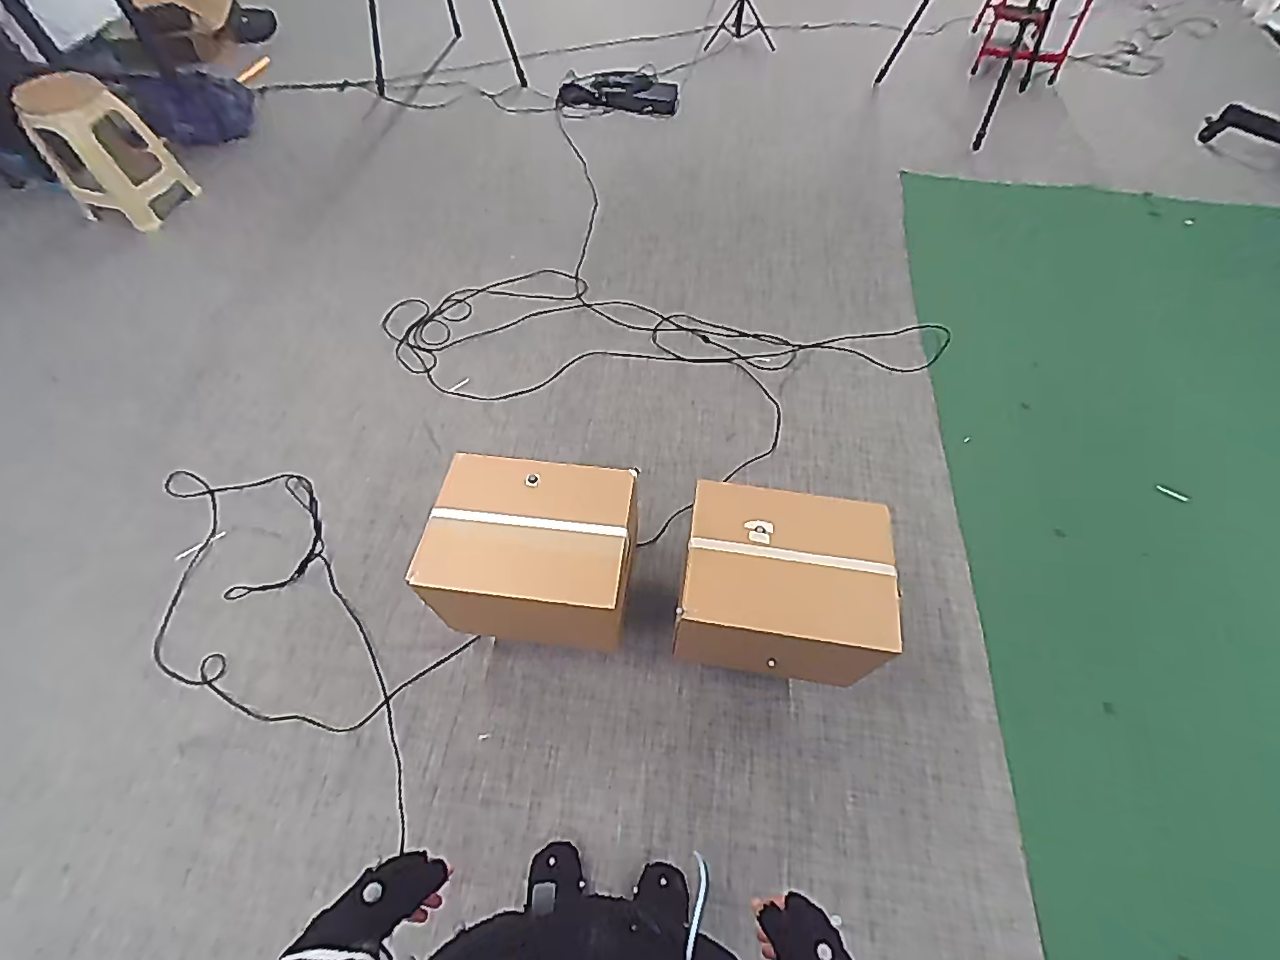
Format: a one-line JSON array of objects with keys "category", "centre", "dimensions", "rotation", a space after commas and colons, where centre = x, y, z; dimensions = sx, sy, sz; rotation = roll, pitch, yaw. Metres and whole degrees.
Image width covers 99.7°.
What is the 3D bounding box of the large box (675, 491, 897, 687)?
[{"category": "large box", "centre": [0.301, 0.253, 1.210], "dimensions": [0.408, 0.320, 0.320], "rotation": [8, 58, 5]}]
